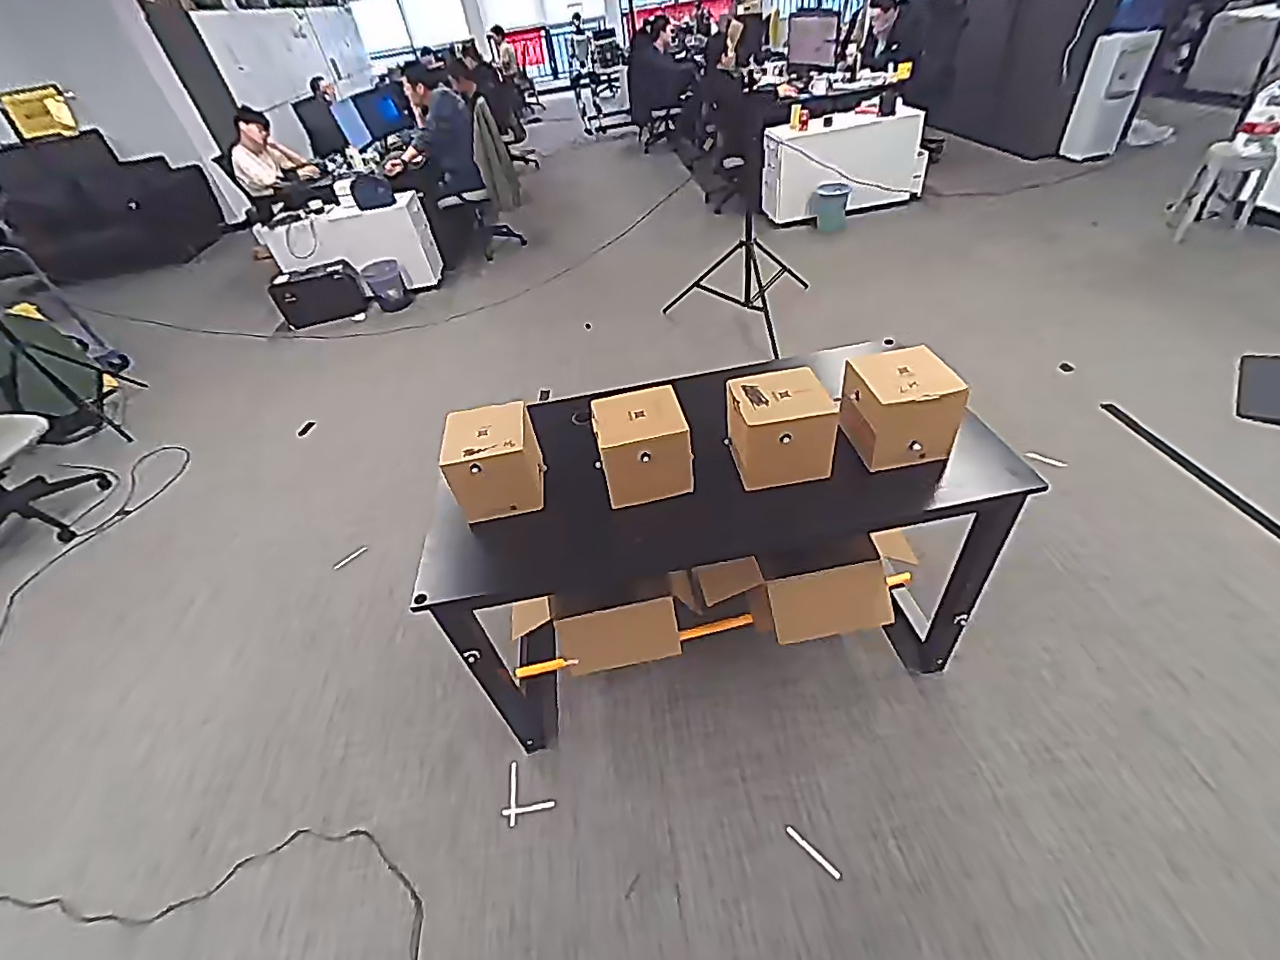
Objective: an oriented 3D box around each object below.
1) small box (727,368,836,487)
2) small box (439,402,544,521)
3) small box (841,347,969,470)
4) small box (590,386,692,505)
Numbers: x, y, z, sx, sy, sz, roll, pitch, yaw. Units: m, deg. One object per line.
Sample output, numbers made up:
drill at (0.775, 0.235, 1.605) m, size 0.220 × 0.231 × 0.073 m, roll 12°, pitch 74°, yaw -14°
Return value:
small box at (0.281, -0.103, 1.102) m, size 0.179 × 0.176 × 0.168 m, roll -9°, pitch 42°, yaw 1°
small box at (-0.305, -0.039, 1.145) m, size 0.168 × 0.176 × 0.179 m, roll -11°, pitch 42°, yaw -2°
small box at (0.523, -0.145, 1.100) m, size 0.168 × 0.176 × 0.179 m, roll -10°, pitch 42°, yaw 2°
small box at (0.004, -0.068, 1.121) m, size 0.179 × 0.176 × 0.168 m, roll -12°, pitch 43°, yaw -3°
